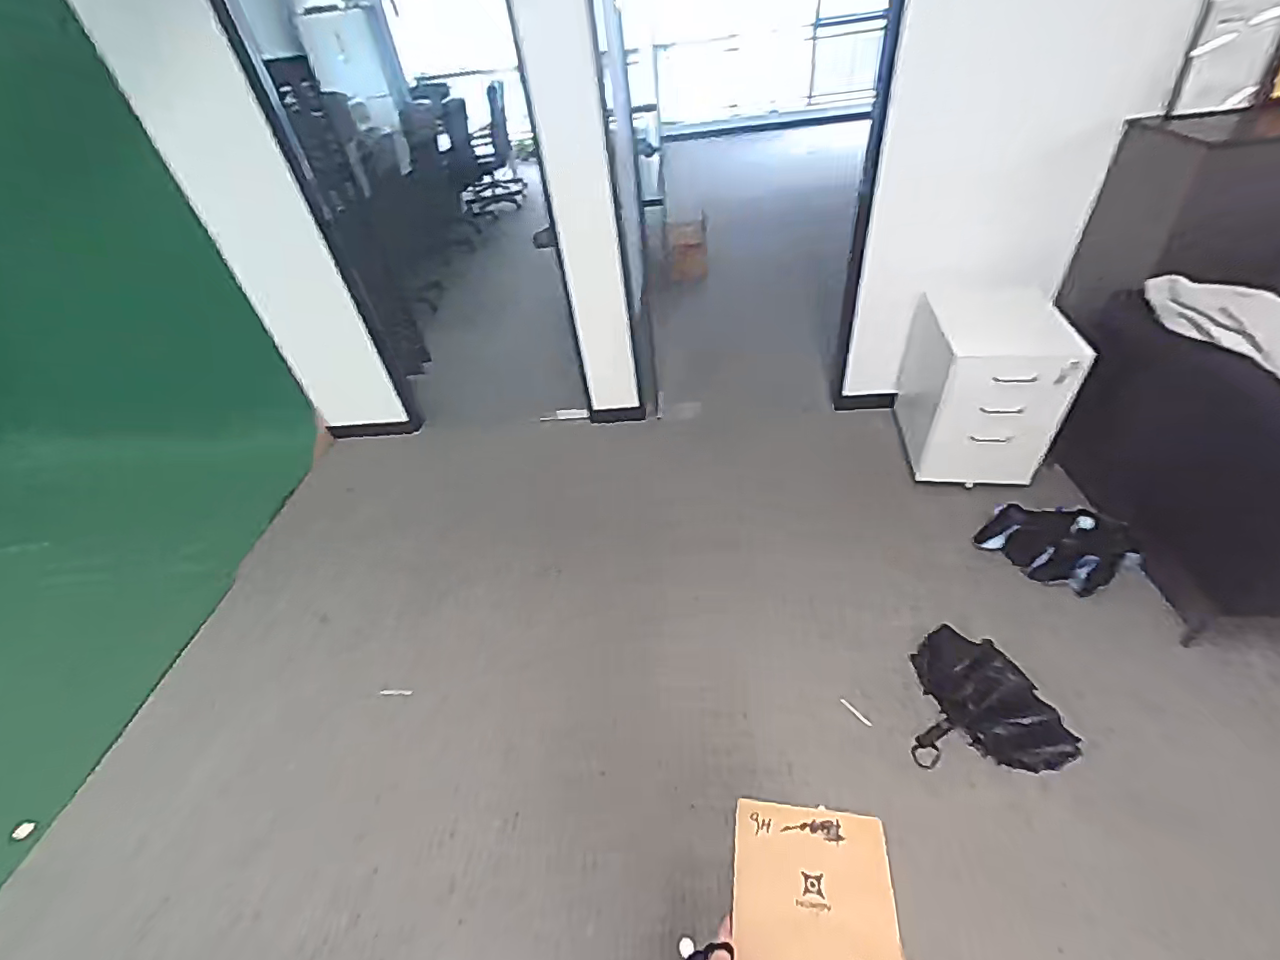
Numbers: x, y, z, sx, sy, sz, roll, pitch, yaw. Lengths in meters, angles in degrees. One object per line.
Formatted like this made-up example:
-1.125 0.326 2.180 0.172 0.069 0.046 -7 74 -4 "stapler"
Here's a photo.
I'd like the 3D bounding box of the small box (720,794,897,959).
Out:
0.180 0.489 0.602 0.168 0.176 0.179 1 36 12 "small box"
